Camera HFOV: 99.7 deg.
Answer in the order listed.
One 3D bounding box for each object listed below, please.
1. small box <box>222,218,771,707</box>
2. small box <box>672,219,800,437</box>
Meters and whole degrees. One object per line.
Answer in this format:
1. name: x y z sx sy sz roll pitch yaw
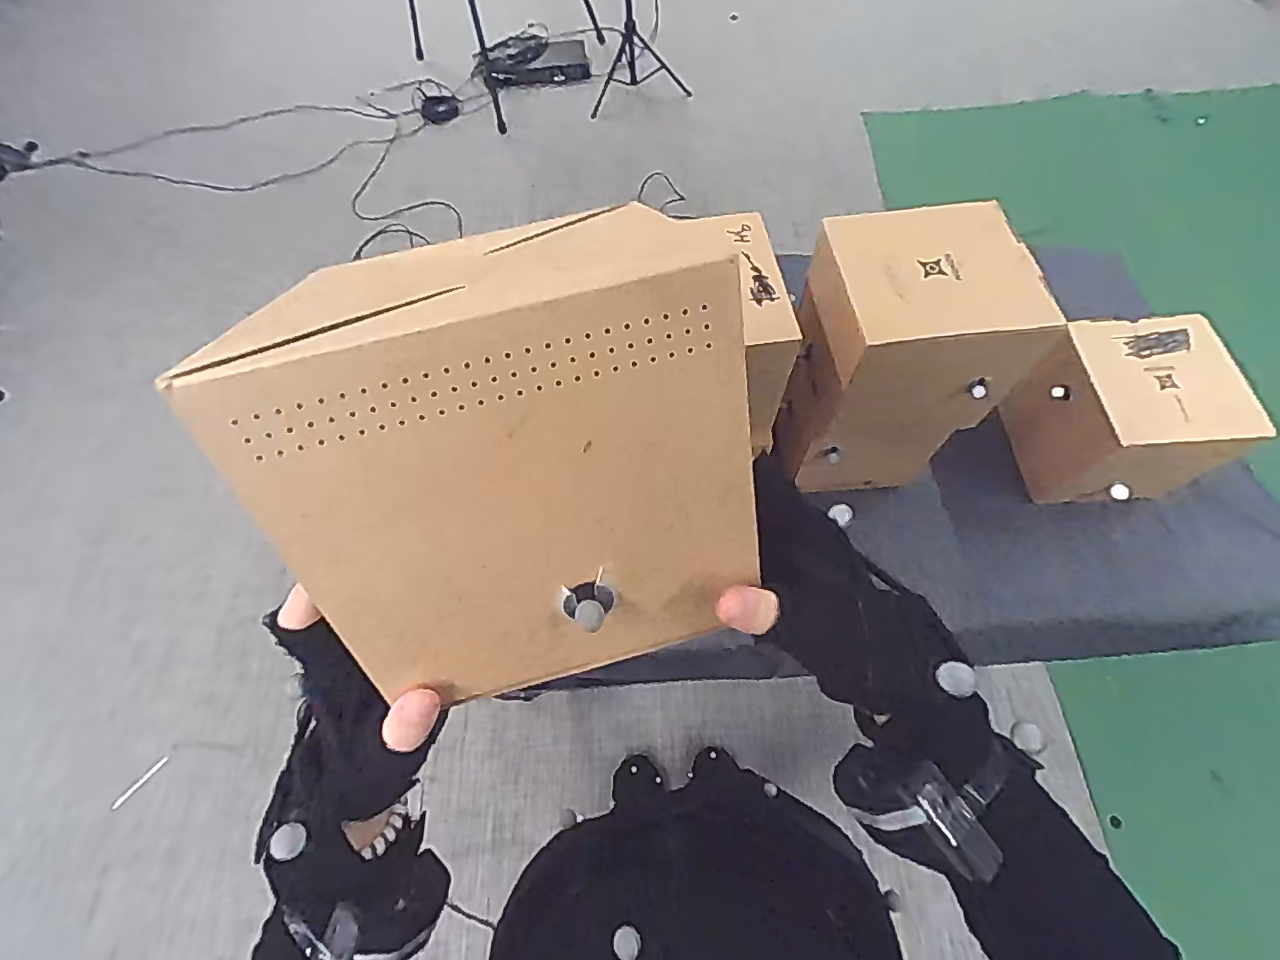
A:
1. small box: -0.049 -0.025 0.275 0.179 0.176 0.168 -14 34 -5
2. small box: 0.055 -0.145 0.586 0.179 0.176 0.168 -9 65 0
